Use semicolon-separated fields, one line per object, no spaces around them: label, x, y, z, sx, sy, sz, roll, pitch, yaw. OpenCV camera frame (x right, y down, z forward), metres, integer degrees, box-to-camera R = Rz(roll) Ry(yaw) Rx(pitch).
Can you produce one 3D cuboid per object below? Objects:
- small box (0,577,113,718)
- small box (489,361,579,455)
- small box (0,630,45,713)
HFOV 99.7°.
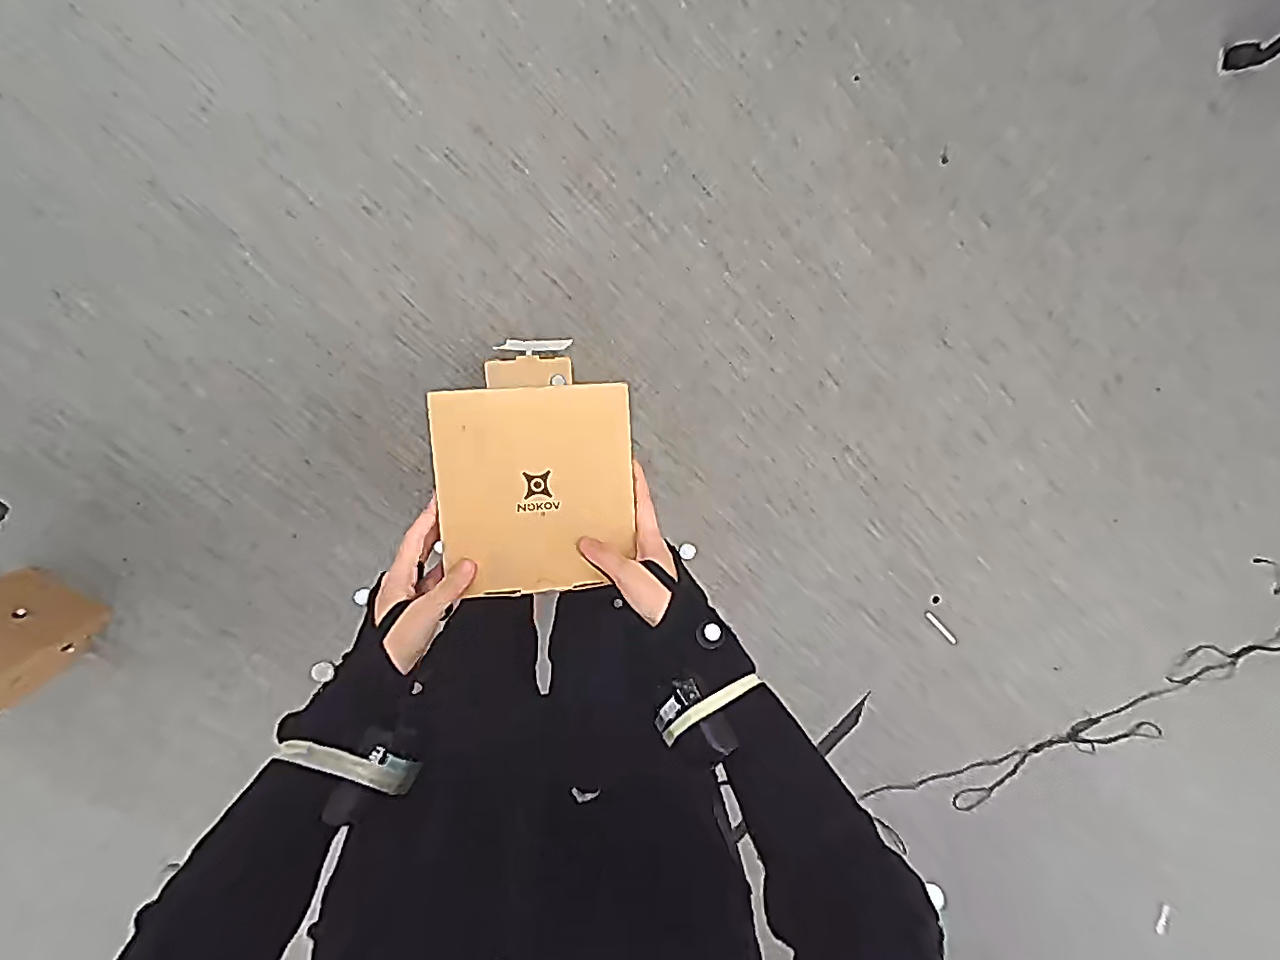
small box;-1.216;0.316;1.059;0.179;0.176;0.168;38;92;-13
small box;-0.221;-0.154;1.130;0.168;0.176;0.179;-5;102;-9
small box;-1.185;0.345;0.899;0.179;0.176;0.168;39;93;-14
